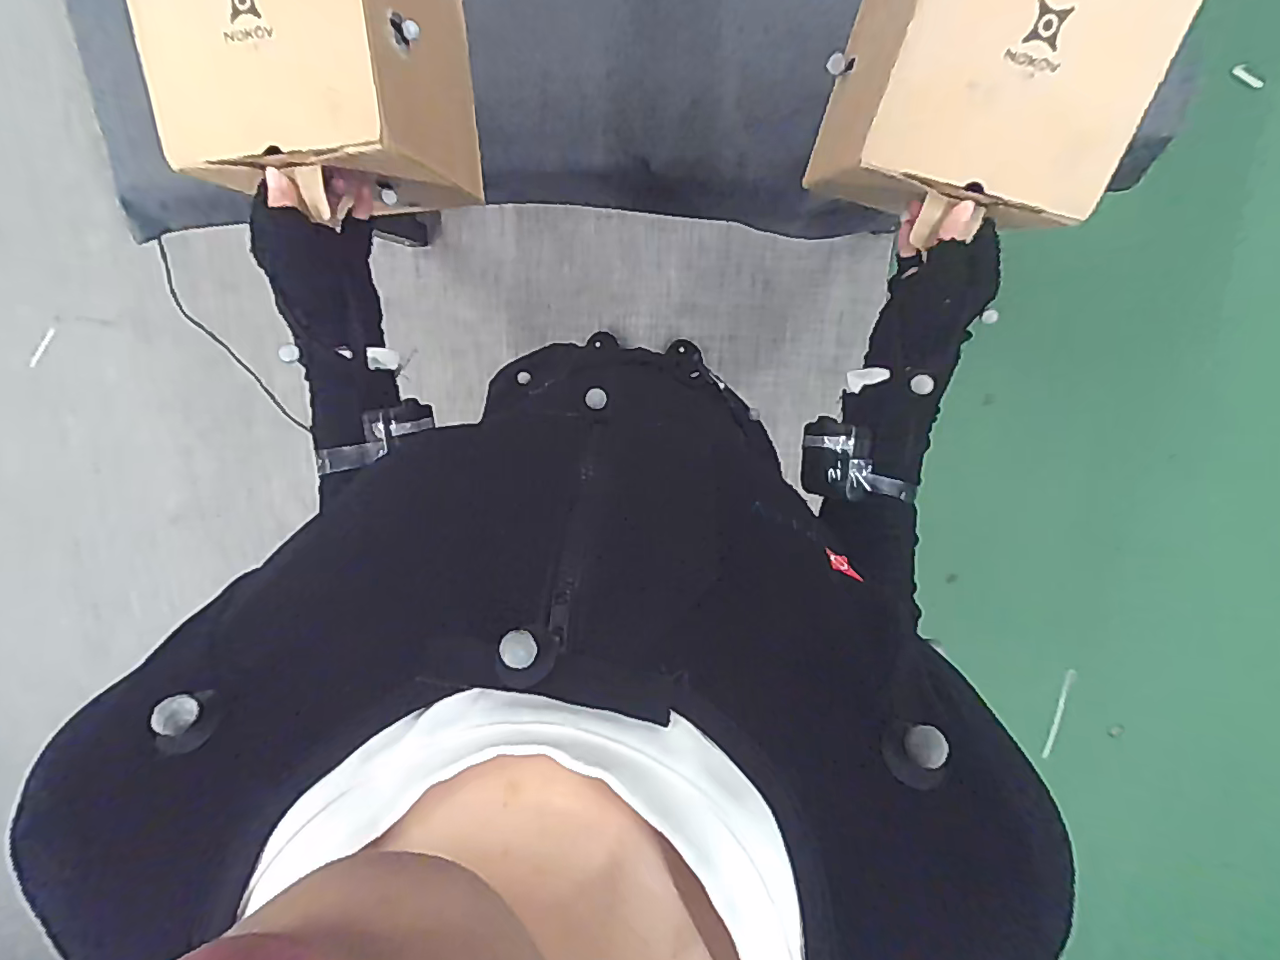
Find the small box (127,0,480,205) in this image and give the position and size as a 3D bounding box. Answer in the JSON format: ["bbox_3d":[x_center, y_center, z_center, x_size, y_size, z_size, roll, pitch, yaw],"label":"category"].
[{"bbox_3d":[-0.238,-0.324,0.416,0.168,0.176,0.179,-2,104,8],"label":"small box"}]

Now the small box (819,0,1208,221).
[{"bbox_3d":[0.250,-0.306,0.401,0.168,0.176,0.179,13,115,-3],"label":"small box"}]
